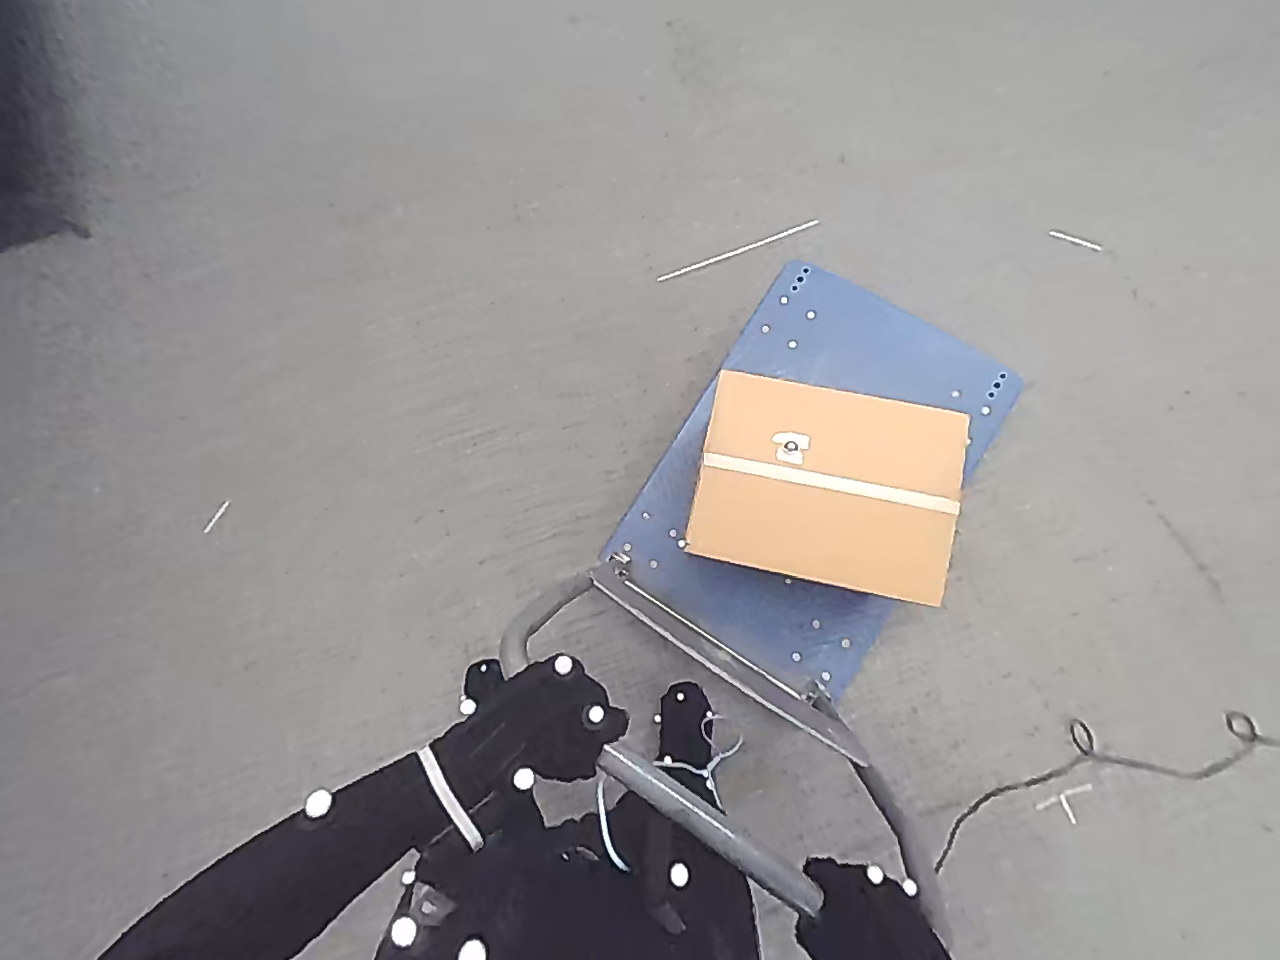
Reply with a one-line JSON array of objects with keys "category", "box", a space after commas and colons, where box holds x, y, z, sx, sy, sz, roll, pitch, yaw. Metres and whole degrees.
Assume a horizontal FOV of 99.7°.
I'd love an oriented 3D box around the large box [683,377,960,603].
[{"category": "large box", "box": [0.312, 0.026, 1.028, 0.408, 0.320, 0.320, 12, 84, 7]}]
